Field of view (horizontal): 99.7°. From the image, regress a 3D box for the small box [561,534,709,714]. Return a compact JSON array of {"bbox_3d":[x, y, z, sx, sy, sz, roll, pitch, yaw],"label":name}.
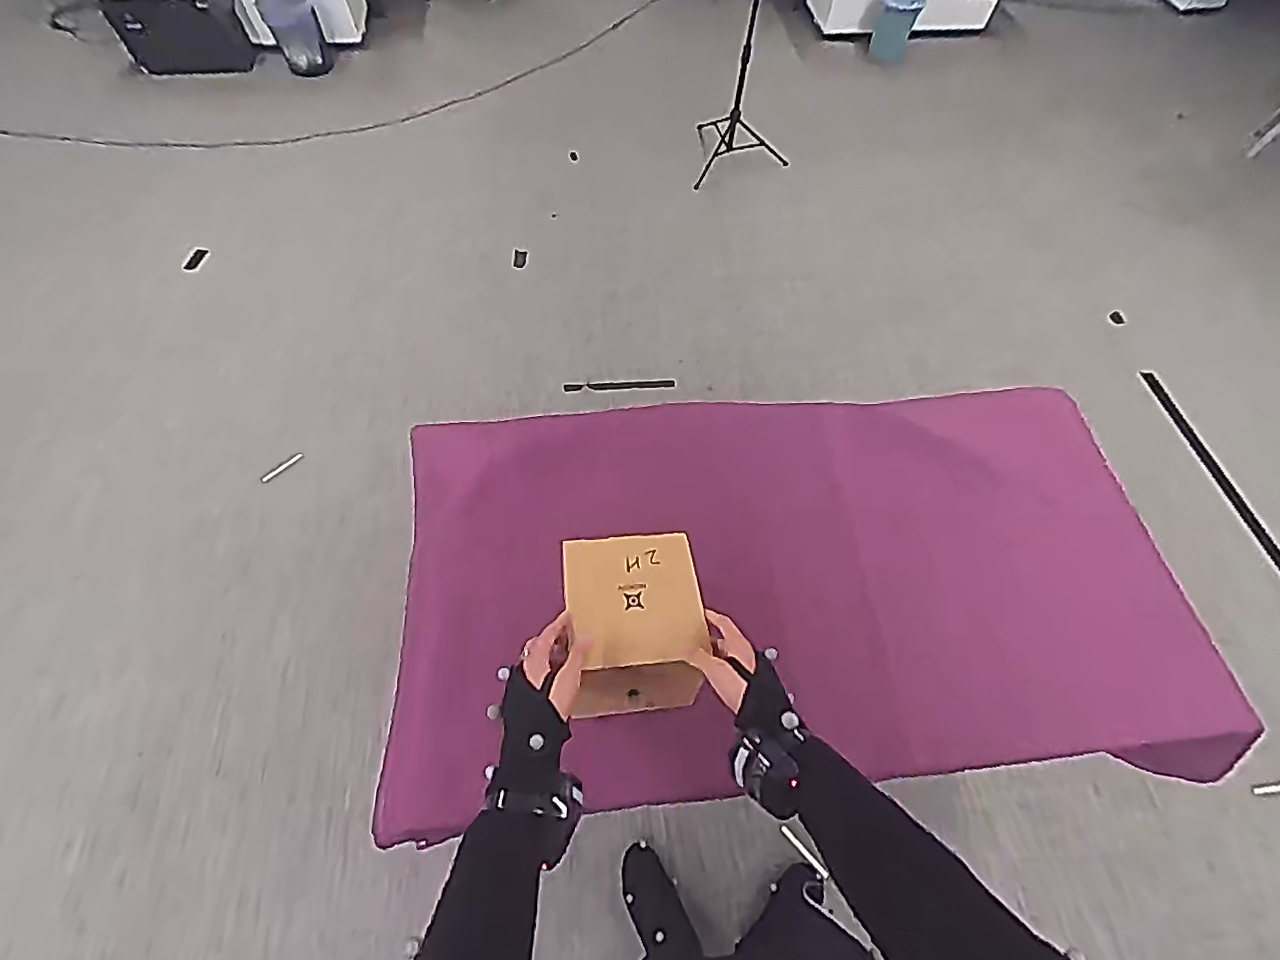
[{"bbox_3d":[-0.017,0.193,0.711,0.168,0.176,0.179,-3,48,-9],"label":"small box"}]
